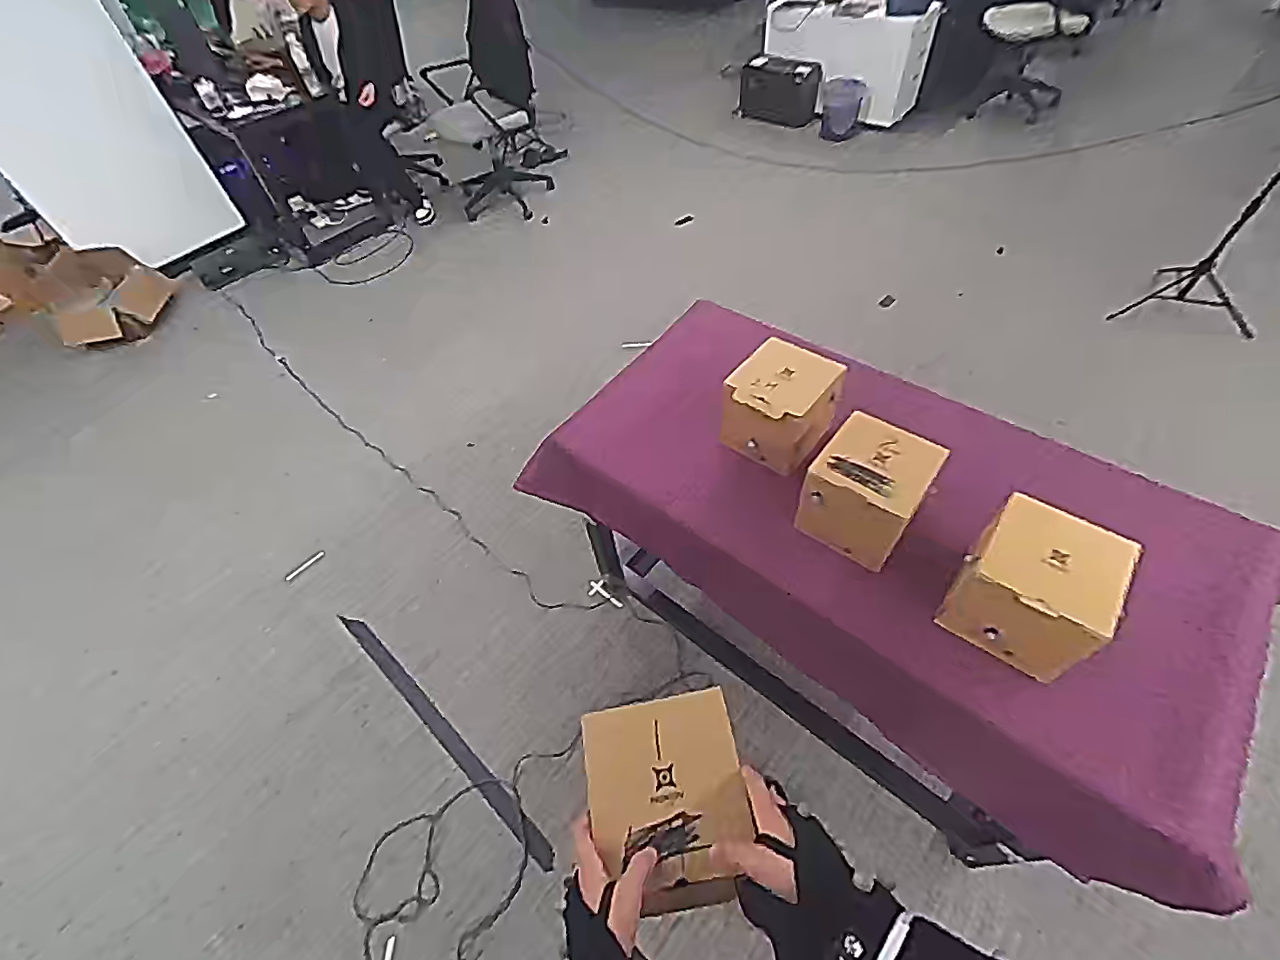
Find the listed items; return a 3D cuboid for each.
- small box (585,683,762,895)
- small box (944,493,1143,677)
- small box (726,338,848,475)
[{"bbox_3d":[0.039,0.359,0.639,0.168,0.176,0.179,-12,57,1],"label":"small box"},{"bbox_3d":[0.592,0.159,0.812,0.168,0.176,0.179,30,61,26],"label":"small box"},{"bbox_3d":[0.283,-0.145,1.080,0.168,0.176,0.179,32,62,27],"label":"small box"}]
